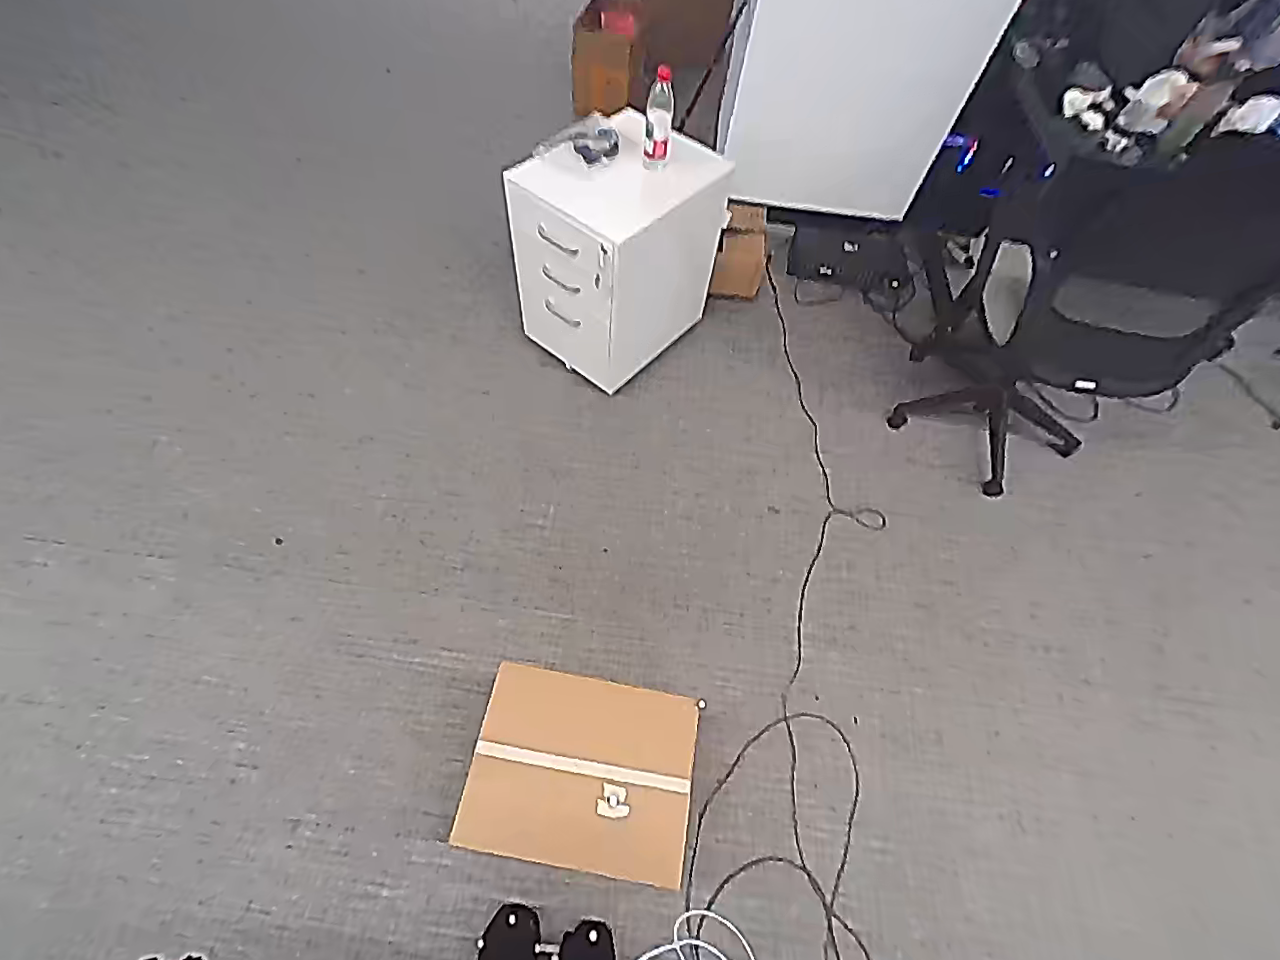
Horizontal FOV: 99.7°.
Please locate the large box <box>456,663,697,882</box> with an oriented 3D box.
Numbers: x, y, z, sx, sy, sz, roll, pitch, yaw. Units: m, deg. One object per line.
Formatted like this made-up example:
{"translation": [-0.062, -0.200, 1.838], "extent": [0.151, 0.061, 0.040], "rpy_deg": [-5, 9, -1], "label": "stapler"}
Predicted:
{"translation": [-0.117, 0.607, 1.134], "extent": [0.408, 0.320, 0.320], "rpy_deg": [11, 59, 0], "label": "large box"}
